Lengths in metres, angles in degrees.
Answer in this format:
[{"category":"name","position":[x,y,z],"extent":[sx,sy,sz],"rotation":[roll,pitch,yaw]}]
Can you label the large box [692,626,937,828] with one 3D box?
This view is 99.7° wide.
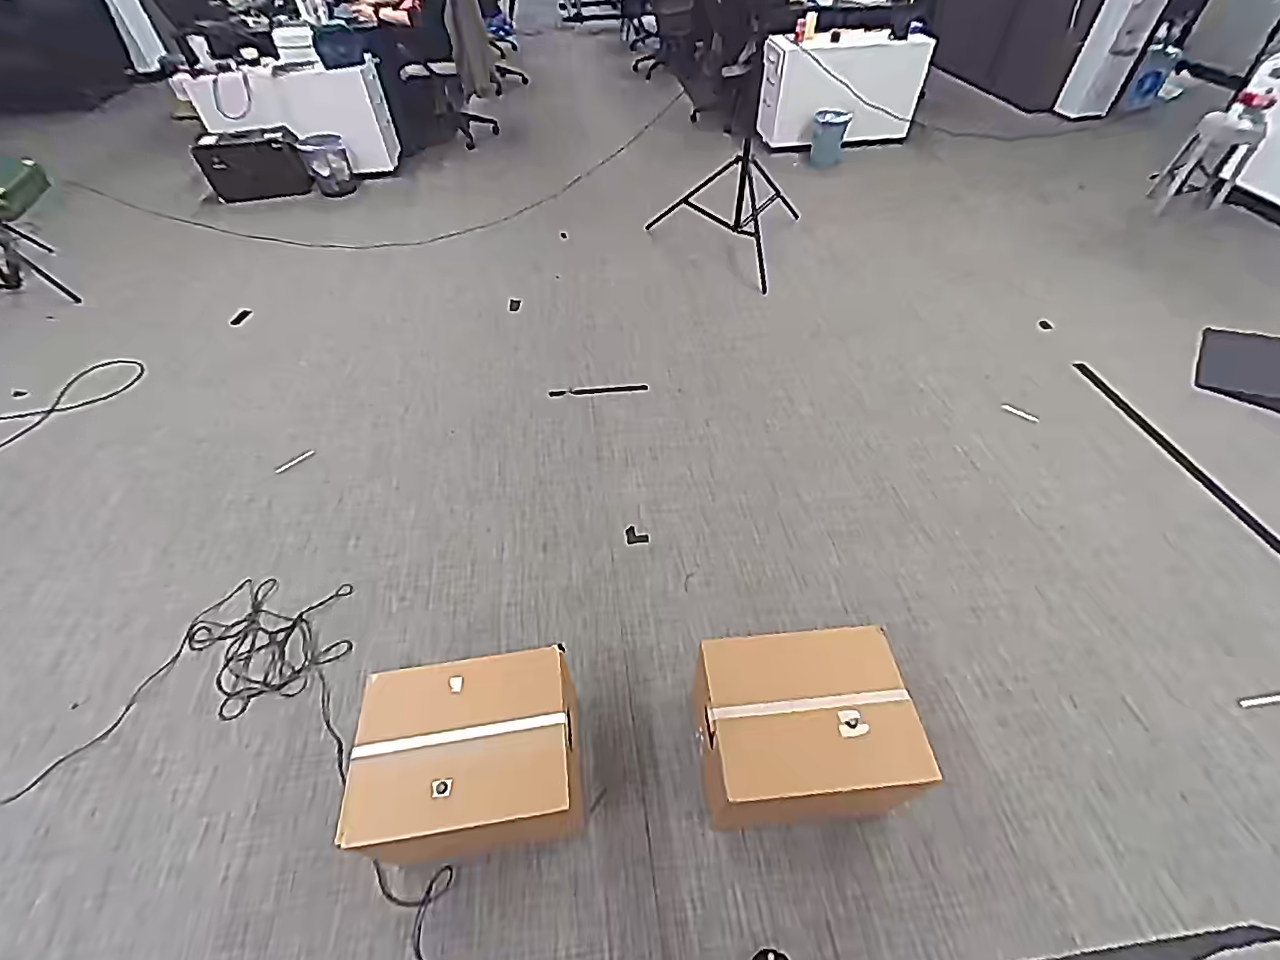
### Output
[{"category":"large box","position":[0.347,0.553,1.207],"extent":[0.408,0.320,0.320],"rotation":[-4,49,-3]}]
